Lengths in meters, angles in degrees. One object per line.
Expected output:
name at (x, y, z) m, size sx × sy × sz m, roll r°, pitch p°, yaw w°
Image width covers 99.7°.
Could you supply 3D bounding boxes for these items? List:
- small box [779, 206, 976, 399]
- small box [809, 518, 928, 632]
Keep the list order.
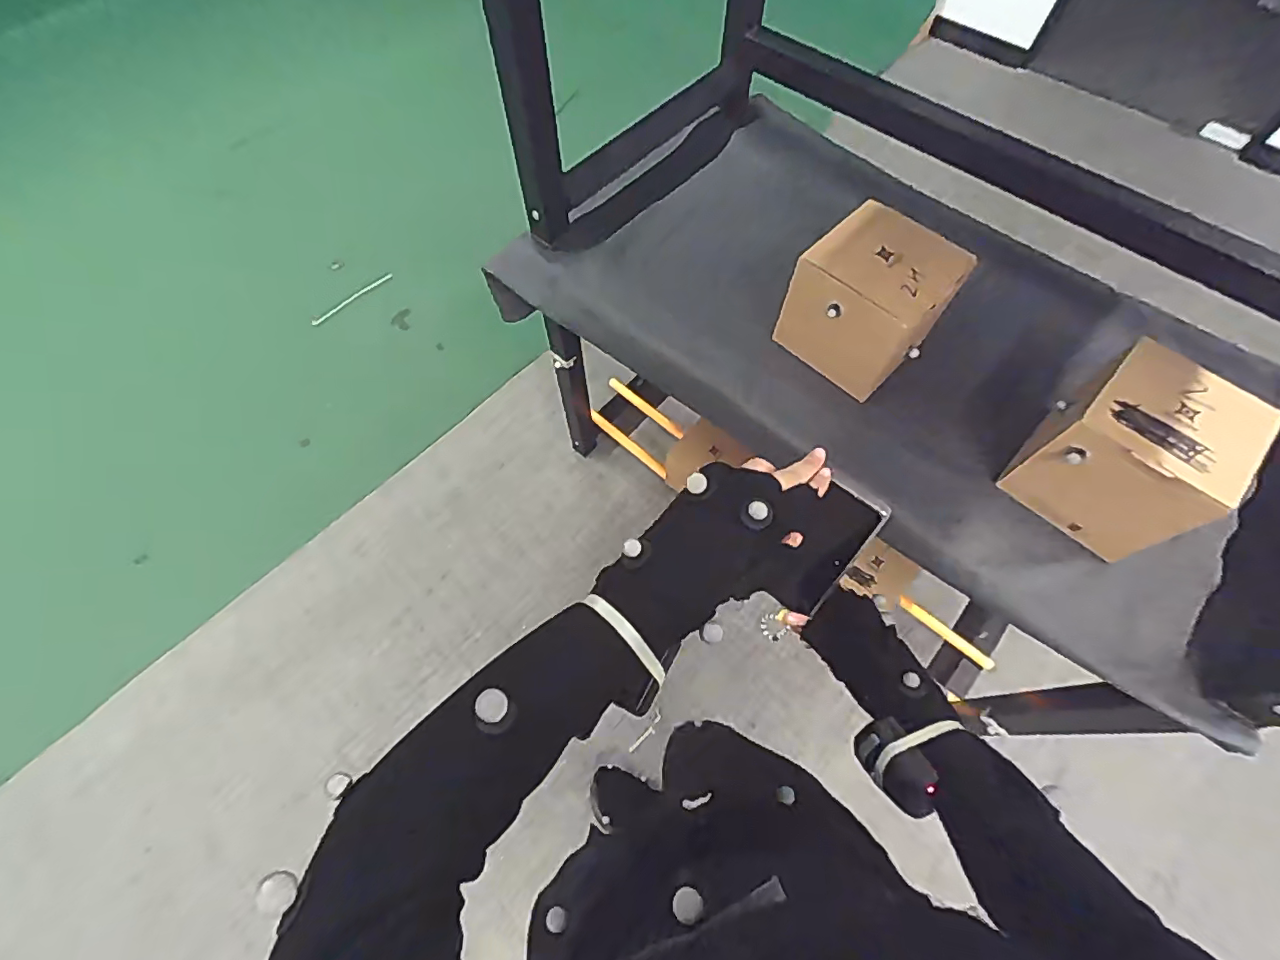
small box at (0.331, -0.253, 0.792) m, size 0.179 × 0.176 × 0.168 m, roll 42°, pitch 71°, yaw 18°
small box at (0.514, 0.227, 1.250) m, size 0.179 × 0.176 × 0.168 m, roll -42°, pitch 71°, yaw -18°
